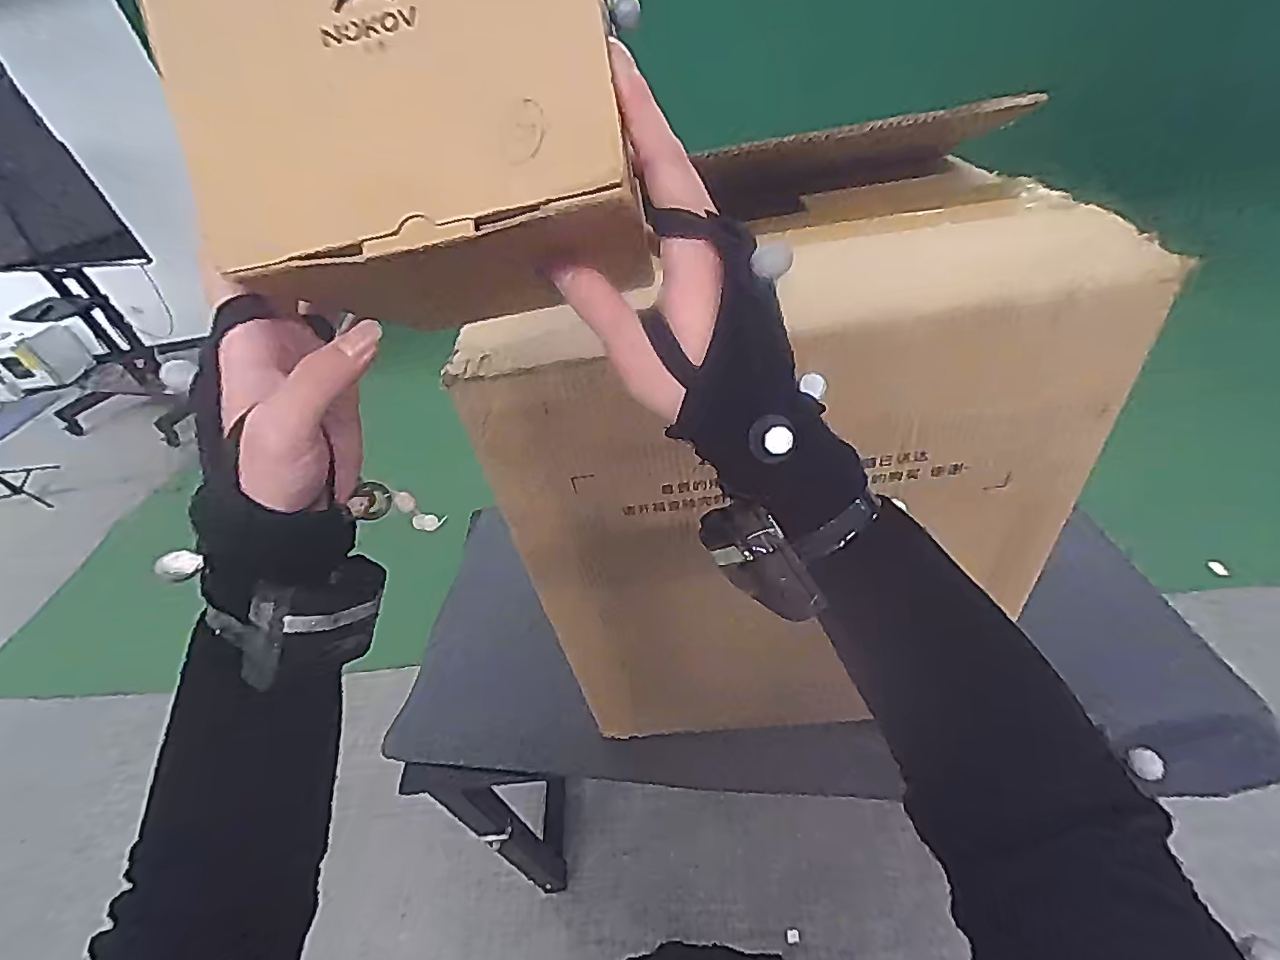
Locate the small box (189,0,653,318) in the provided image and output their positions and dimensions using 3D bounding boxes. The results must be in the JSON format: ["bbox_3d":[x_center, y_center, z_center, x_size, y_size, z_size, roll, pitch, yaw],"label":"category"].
[{"bbox_3d":[-0.089,-0.194,0.288,0.168,0.179,0.176,-10,5,5],"label":"small box"}]
